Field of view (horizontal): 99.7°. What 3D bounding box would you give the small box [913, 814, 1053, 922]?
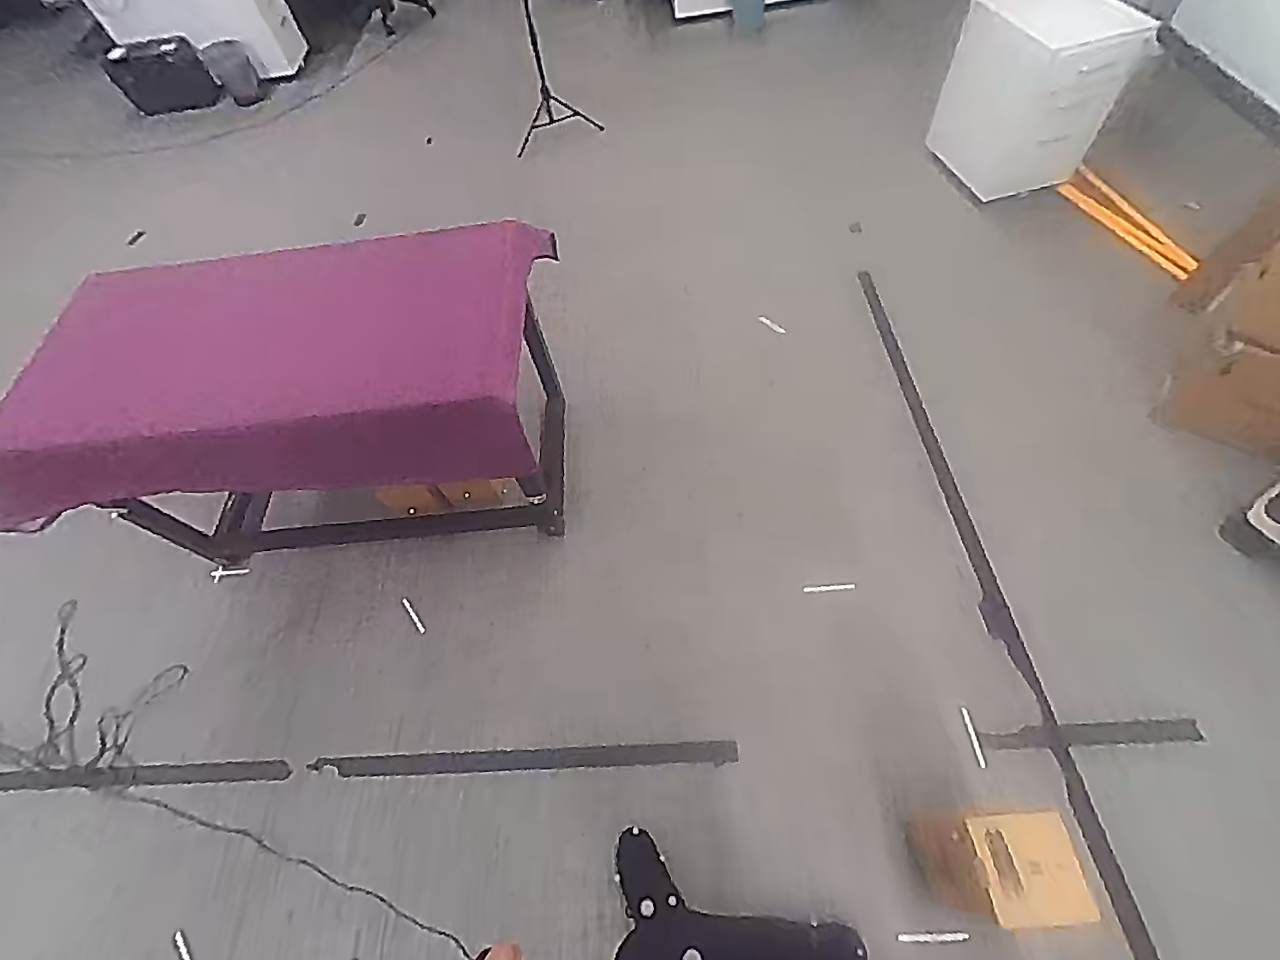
[{"bbox_3d":[0.728,0.832,1.172,0.179,0.176,0.168,-9,59,3],"label":"small box"}]
